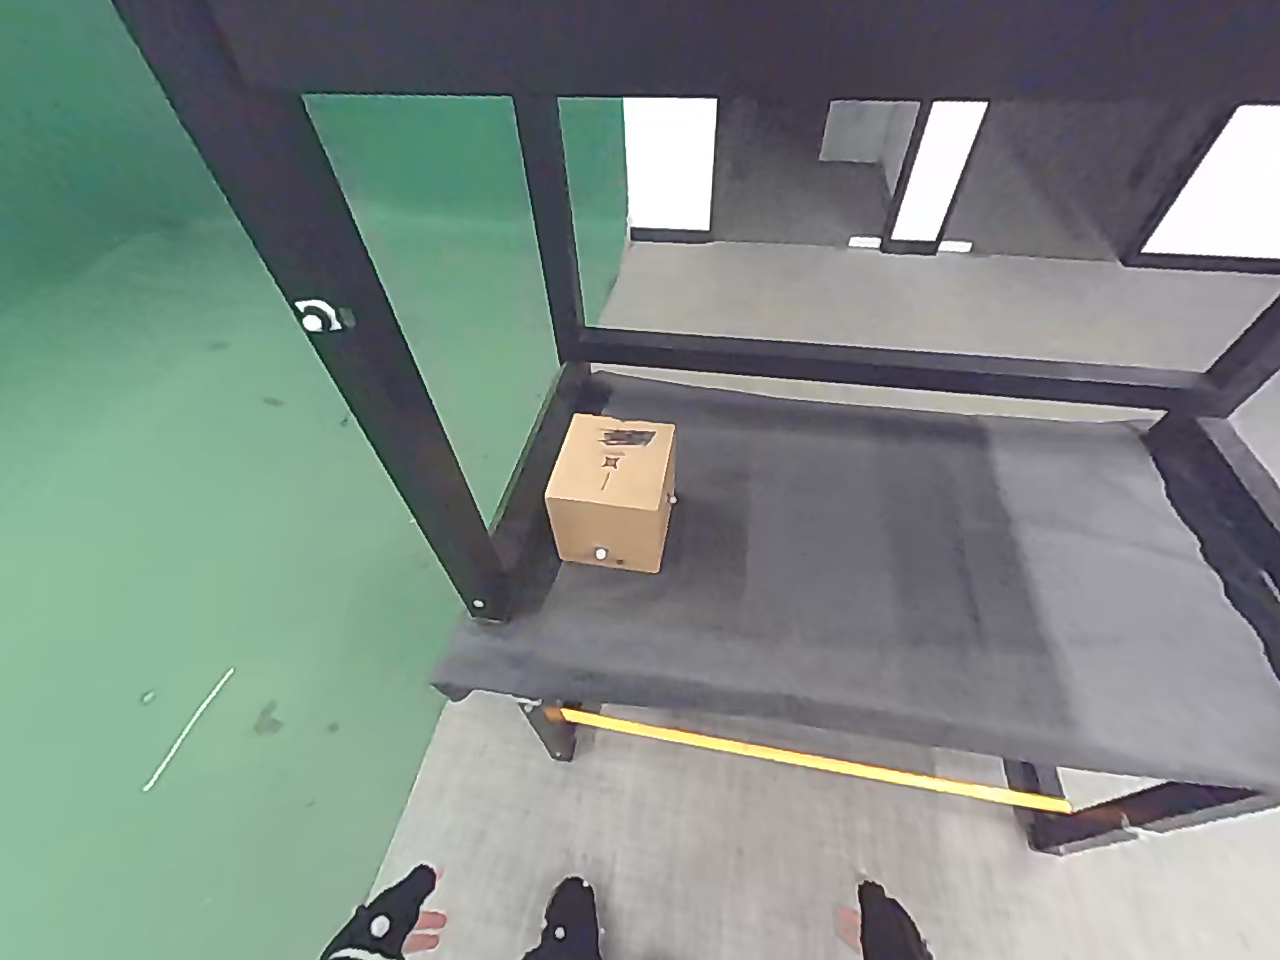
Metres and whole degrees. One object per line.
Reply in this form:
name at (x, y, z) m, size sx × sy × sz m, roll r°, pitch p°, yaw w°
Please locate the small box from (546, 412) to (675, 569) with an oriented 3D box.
small box at (-0.039, 0.017, 0.872) m, size 0.168 × 0.176 × 0.179 m, roll 7°, pitch 50°, yaw 8°
